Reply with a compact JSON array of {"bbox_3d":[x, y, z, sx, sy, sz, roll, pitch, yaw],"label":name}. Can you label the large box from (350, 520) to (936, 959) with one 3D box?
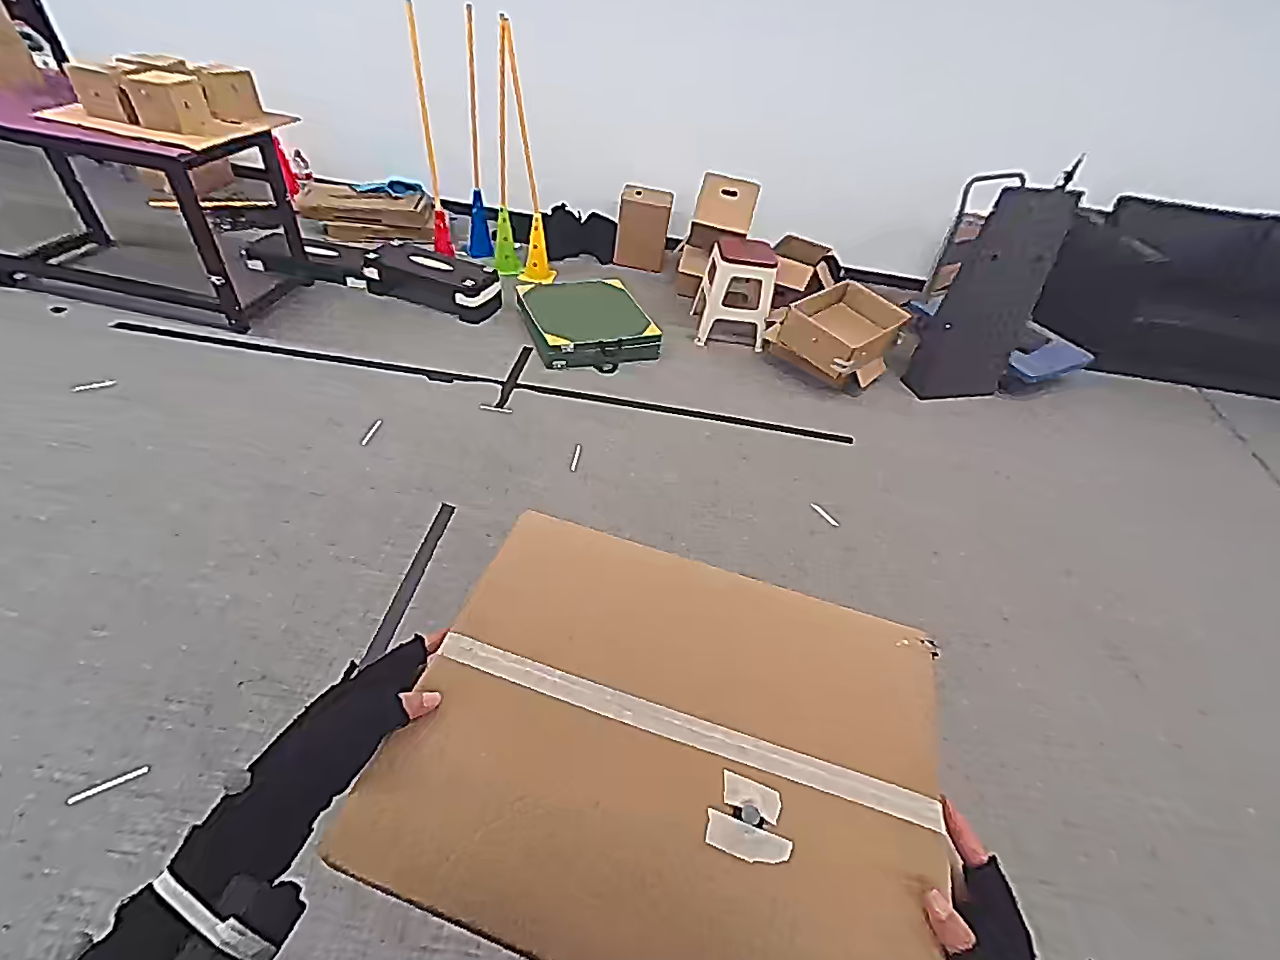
[{"bbox_3d":[0.018,0.298,0.547,0.408,0.320,0.320,17,49,9],"label":"large box"}]
